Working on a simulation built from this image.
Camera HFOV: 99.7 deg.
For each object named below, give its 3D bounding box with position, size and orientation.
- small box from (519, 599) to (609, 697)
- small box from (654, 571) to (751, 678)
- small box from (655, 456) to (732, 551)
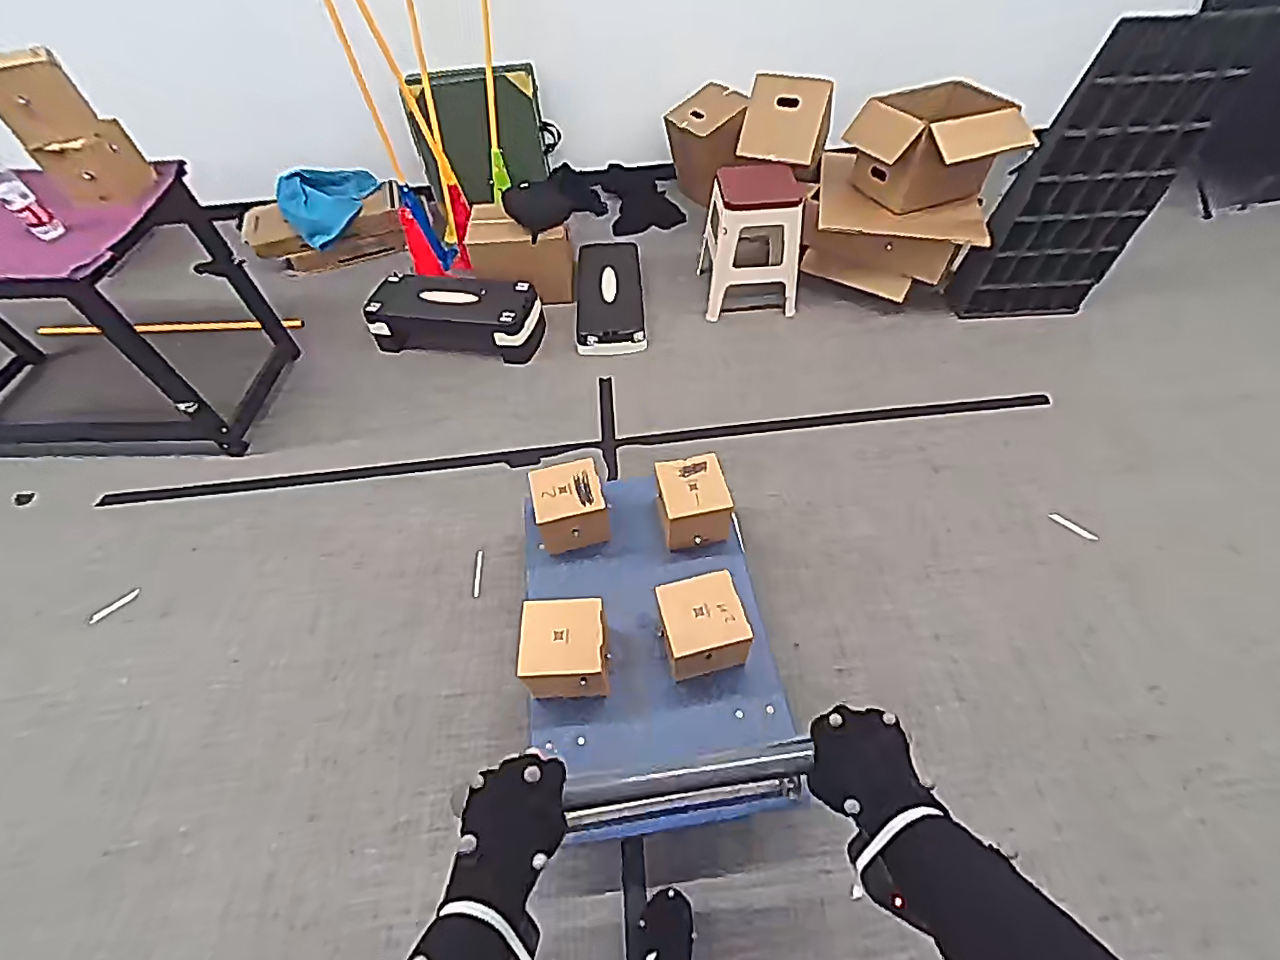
[{"bbox_3d":[-0.165,0.383,1.222,0.179,0.176,0.168,-3,54,-1],"label":"small box"},{"bbox_3d":[0.138,0.336,1.238,0.179,0.176,0.168,-13,54,-6],"label":"small box"},{"bbox_3d":[0.135,0.063,1.439,0.168,0.176,0.179,-11,55,-5],"label":"small box"}]
